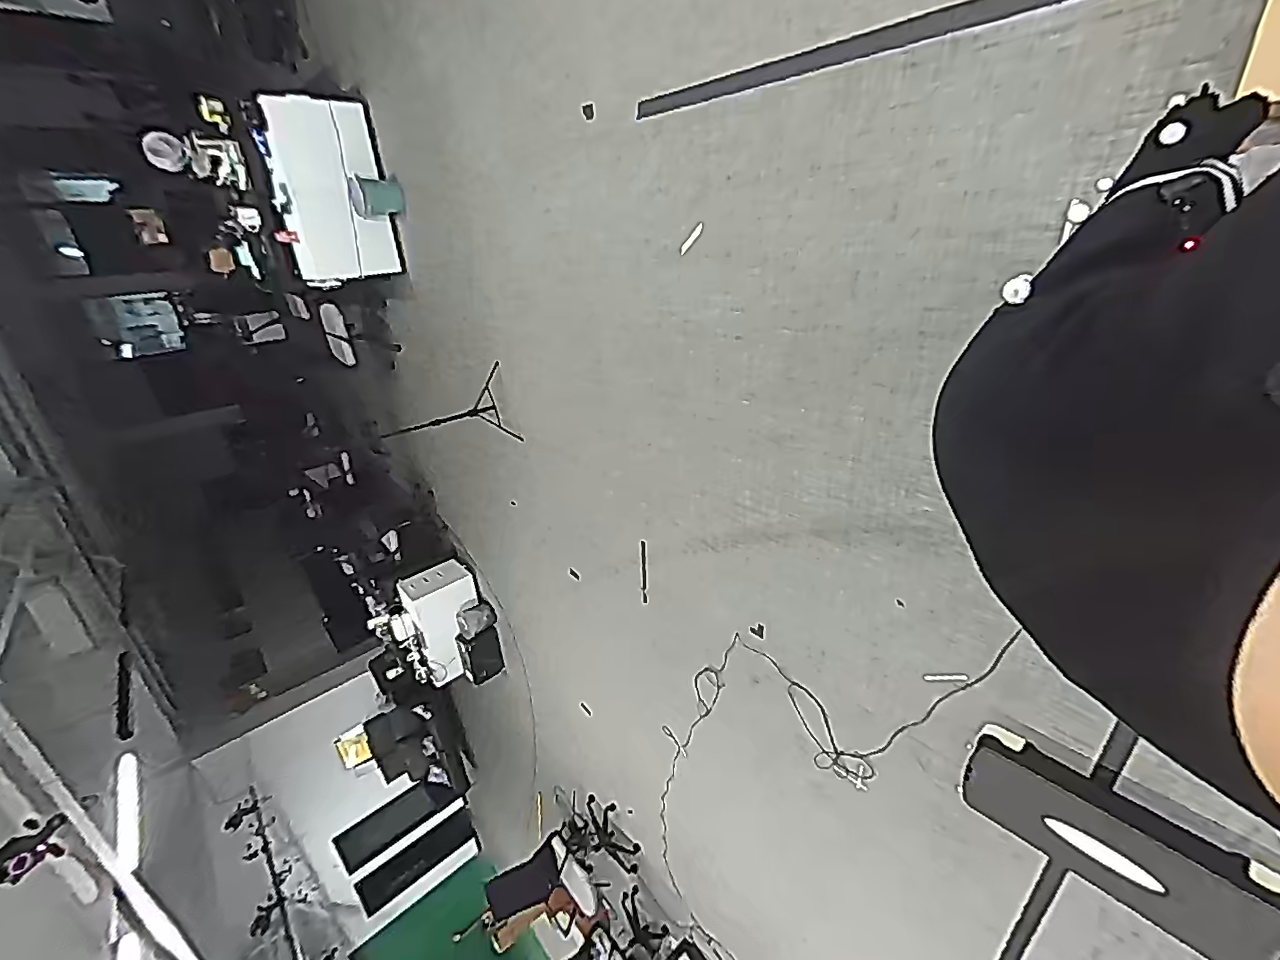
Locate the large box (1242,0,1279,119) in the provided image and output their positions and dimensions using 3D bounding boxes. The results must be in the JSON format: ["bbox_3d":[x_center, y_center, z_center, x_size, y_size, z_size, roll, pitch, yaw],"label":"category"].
[{"bbox_3d":[1.049,-0.651,0.631,0.408,0.320,0.320,22,126,43],"label":"large box"}]
